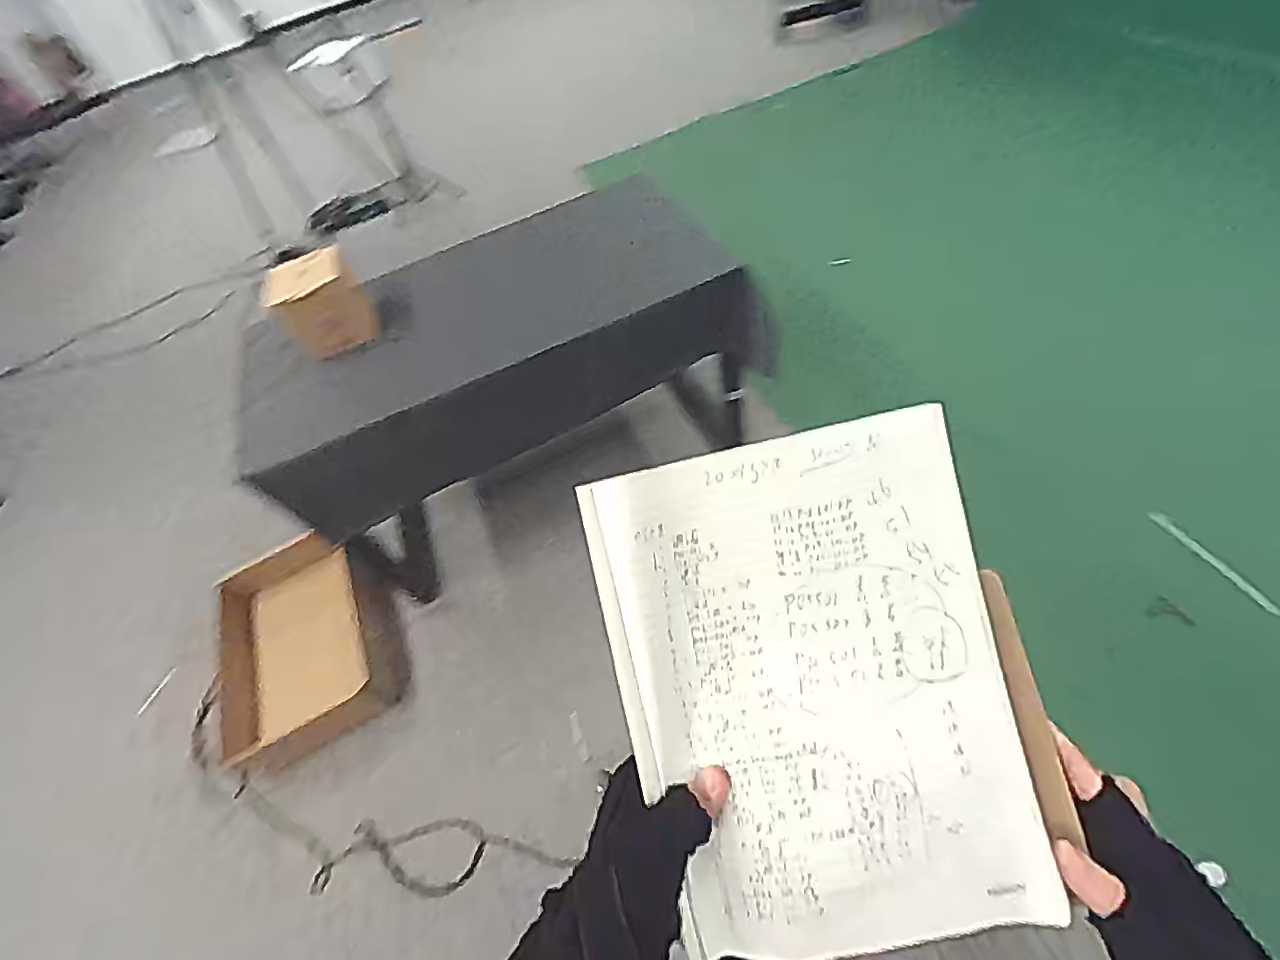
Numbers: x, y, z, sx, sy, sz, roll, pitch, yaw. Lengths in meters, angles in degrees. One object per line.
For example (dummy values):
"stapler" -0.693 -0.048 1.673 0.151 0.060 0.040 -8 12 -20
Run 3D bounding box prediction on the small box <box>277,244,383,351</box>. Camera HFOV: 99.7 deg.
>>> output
"small box" -0.754 -0.439 1.329 0.168 0.176 0.179 -22 54 -4
